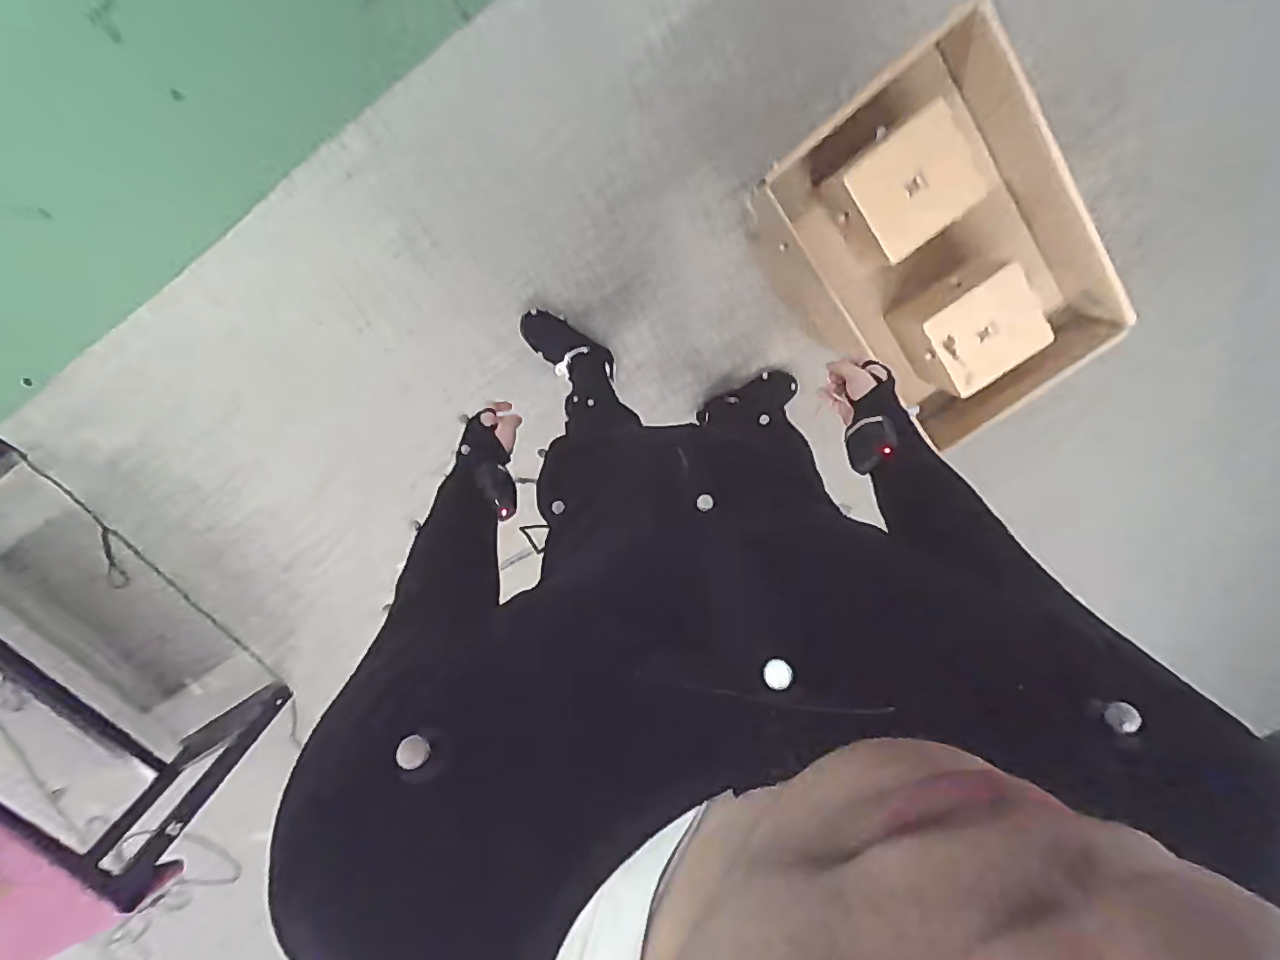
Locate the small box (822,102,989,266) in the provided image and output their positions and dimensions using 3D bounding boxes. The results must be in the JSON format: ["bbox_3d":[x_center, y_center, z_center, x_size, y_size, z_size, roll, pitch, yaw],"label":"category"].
[{"bbox_3d":[0.432,-0.484,0.919,0.179,0.176,0.168,-37,107,12],"label":"small box"}]

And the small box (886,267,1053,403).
[{"bbox_3d":[0.597,-0.274,1.000,0.179,0.176,0.168,-35,107,12],"label":"small box"}]
